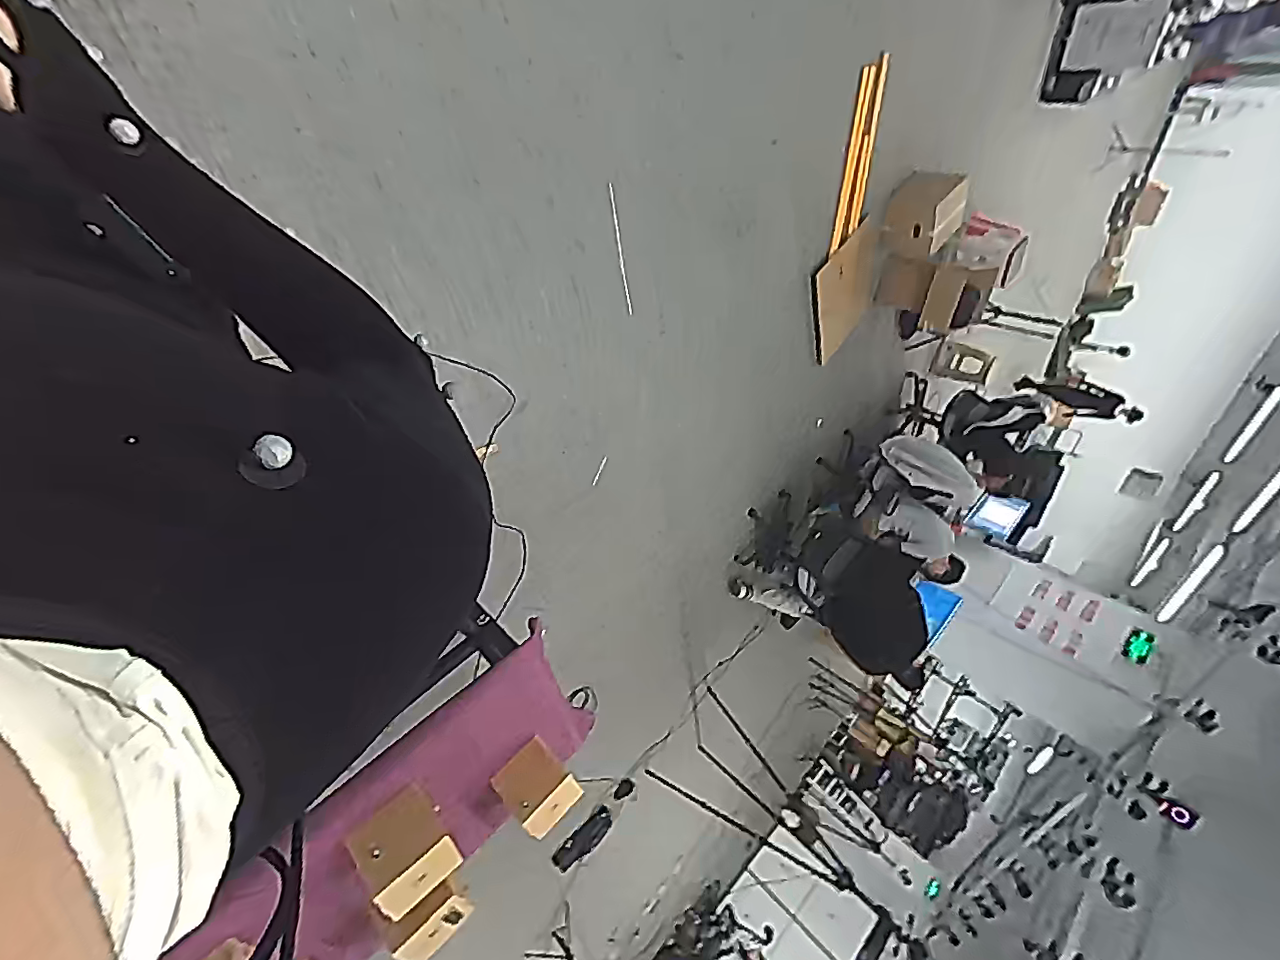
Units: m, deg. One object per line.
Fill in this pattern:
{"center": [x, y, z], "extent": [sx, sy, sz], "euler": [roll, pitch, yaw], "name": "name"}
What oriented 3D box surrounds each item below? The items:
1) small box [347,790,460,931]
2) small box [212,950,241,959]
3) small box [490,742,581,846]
{"center": [-0.556, 0.880, 1.263], "extent": [0.179, 0.176, 0.168], "euler": [-31, 136, -34], "name": "small box"}
{"center": [-0.846, 1.085, 1.058], "extent": [0.179, 0.176, 0.168], "euler": [-34, 137, -32], "name": "small box"}
{"center": [-0.304, 0.908, 1.574], "extent": [0.179, 0.176, 0.168], "euler": [-39, 138, -25], "name": "small box"}
